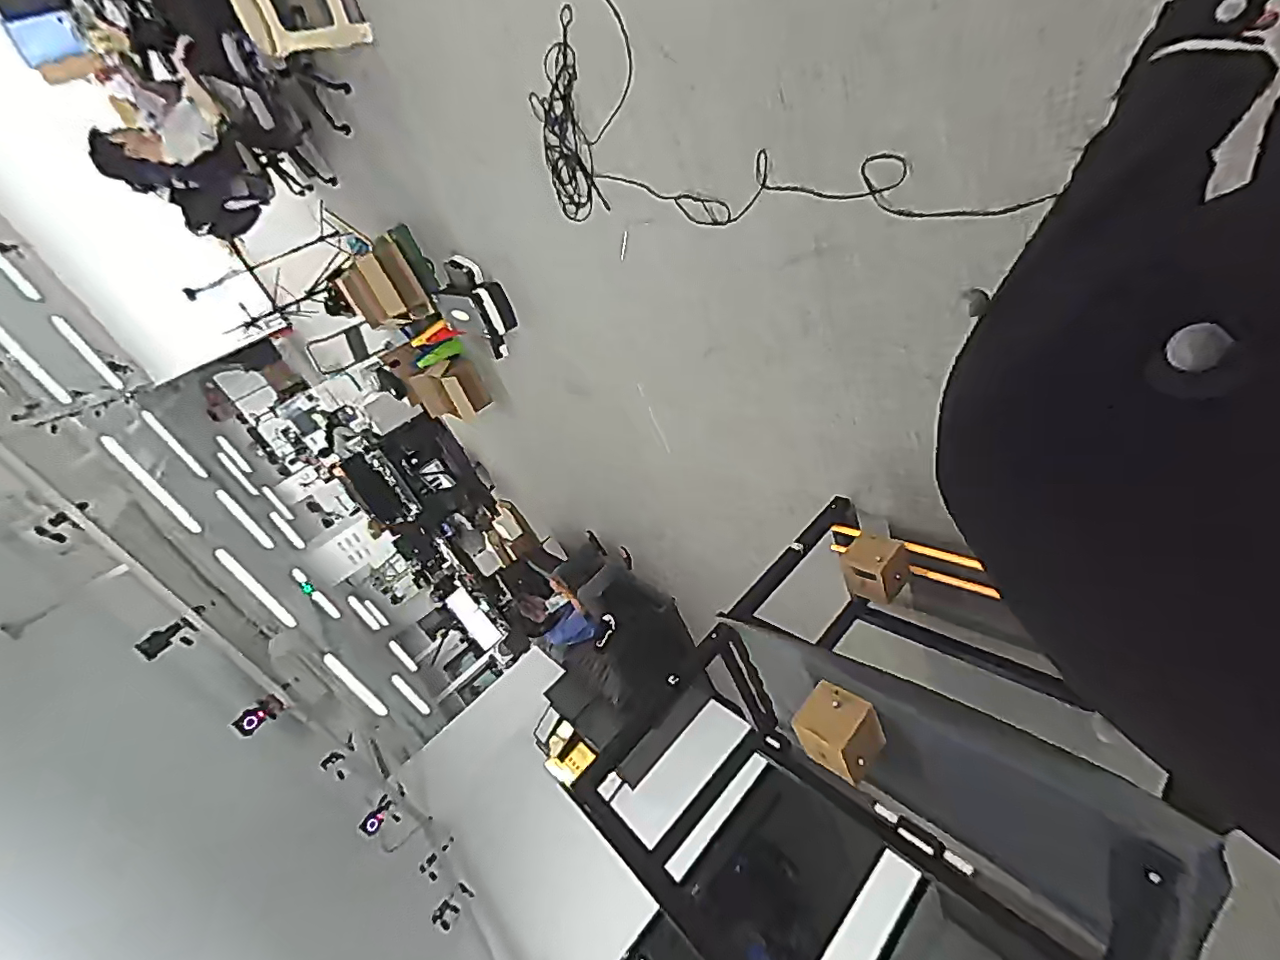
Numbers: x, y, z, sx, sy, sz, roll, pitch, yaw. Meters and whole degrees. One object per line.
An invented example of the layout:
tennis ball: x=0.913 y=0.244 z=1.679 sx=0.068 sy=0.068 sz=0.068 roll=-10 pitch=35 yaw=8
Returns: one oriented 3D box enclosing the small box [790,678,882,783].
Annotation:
small box: x=0.567 y=0.710 z=1.548 sx=0.168 sy=0.176 sz=0.179 roll=12 pitch=136 yaw=52
